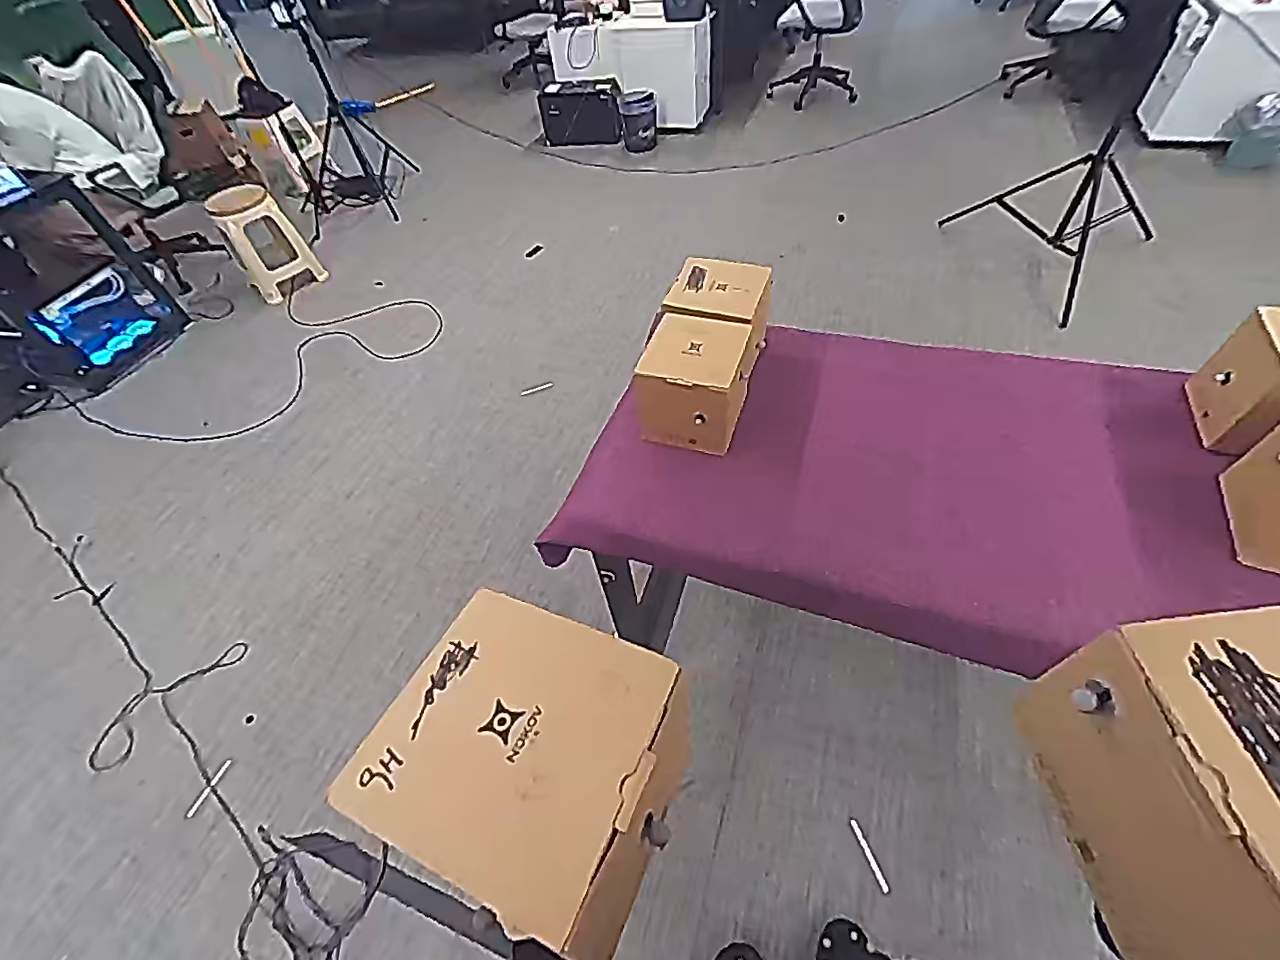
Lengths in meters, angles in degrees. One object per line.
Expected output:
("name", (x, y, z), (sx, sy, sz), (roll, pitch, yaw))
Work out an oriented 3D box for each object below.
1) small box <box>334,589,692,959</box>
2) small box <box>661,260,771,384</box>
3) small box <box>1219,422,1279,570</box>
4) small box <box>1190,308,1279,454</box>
("small box", (-0.070, 0.217, 0.405), (0.179, 0.176, 0.168), (16, 50, 20))
("small box", (0.154, -0.318, 1.096), (0.179, 0.176, 0.168), (15, 57, 16))
("small box", (0.951, 0.030, 0.729), (0.168, 0.176, 0.179), (16, 54, 20))
("small box", (1.025, -0.143, 0.849), (0.179, 0.176, 0.168), (14, 55, 16))
